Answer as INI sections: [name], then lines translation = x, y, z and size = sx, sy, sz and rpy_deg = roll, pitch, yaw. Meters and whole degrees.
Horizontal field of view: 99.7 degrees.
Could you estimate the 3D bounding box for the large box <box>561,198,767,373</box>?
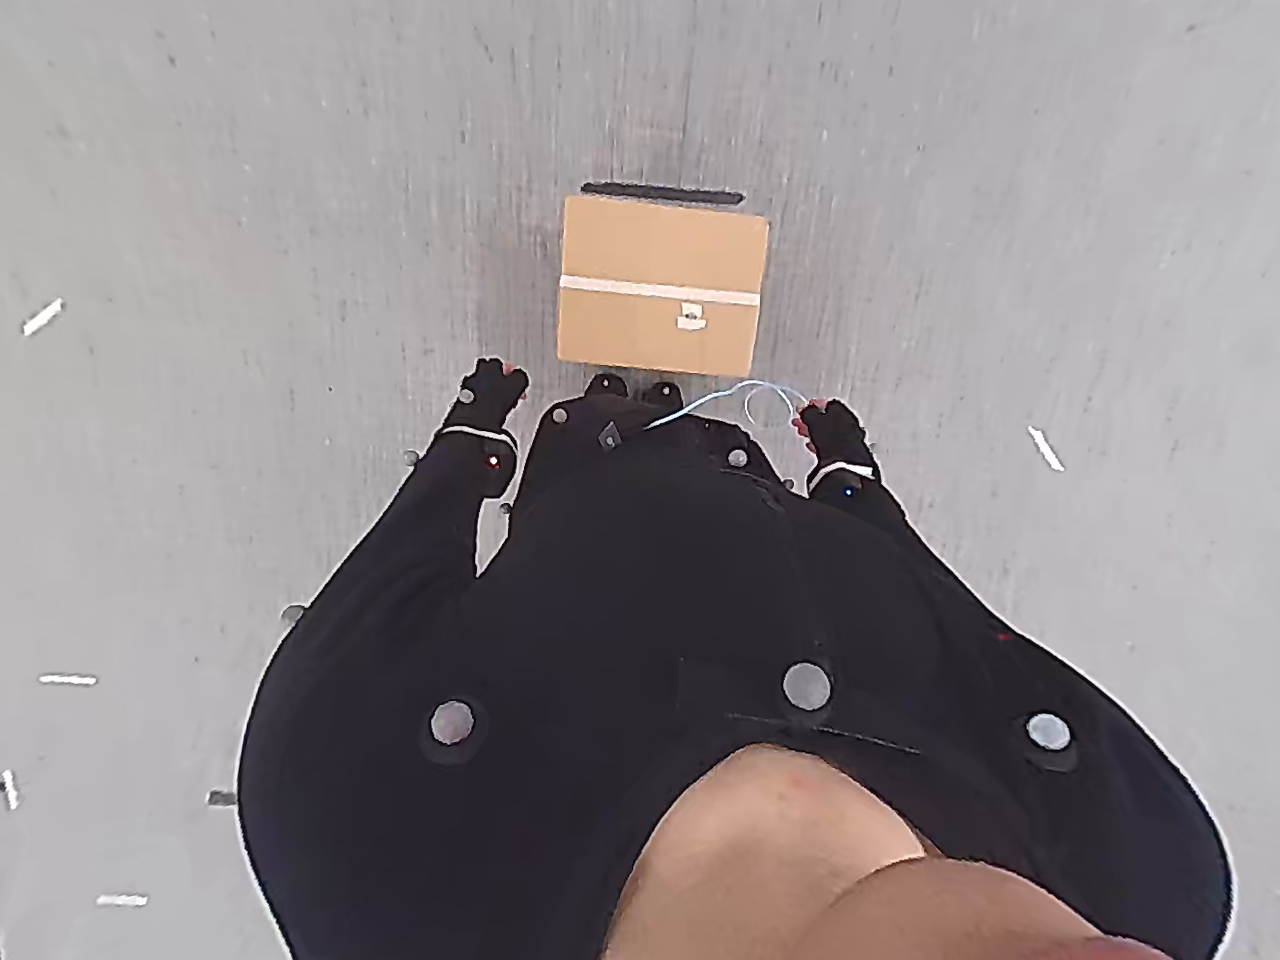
[large box]
translation = 0.035, -0.422, 1.242
size = 0.408, 0.320, 0.320
rpy_deg = 5, 105, -4
